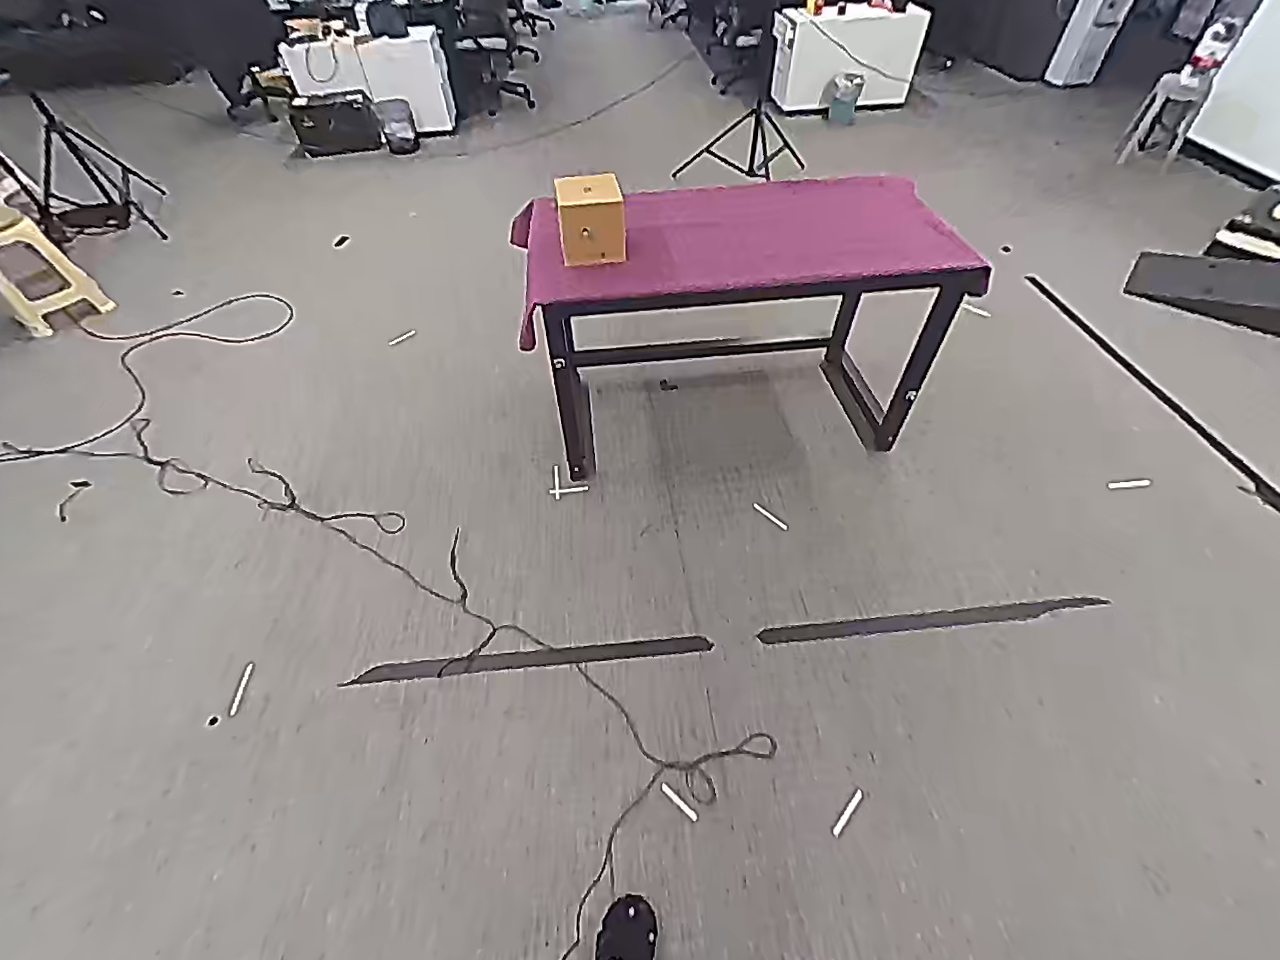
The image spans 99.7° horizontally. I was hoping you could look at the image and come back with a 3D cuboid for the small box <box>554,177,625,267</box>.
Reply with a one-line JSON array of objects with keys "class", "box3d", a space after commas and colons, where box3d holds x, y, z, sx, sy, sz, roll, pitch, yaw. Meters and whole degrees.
[{"class": "small box", "box3d": [-0.136, -0.697, 1.472, 0.168, 0.176, 0.179, -8, 50, -6]}]
